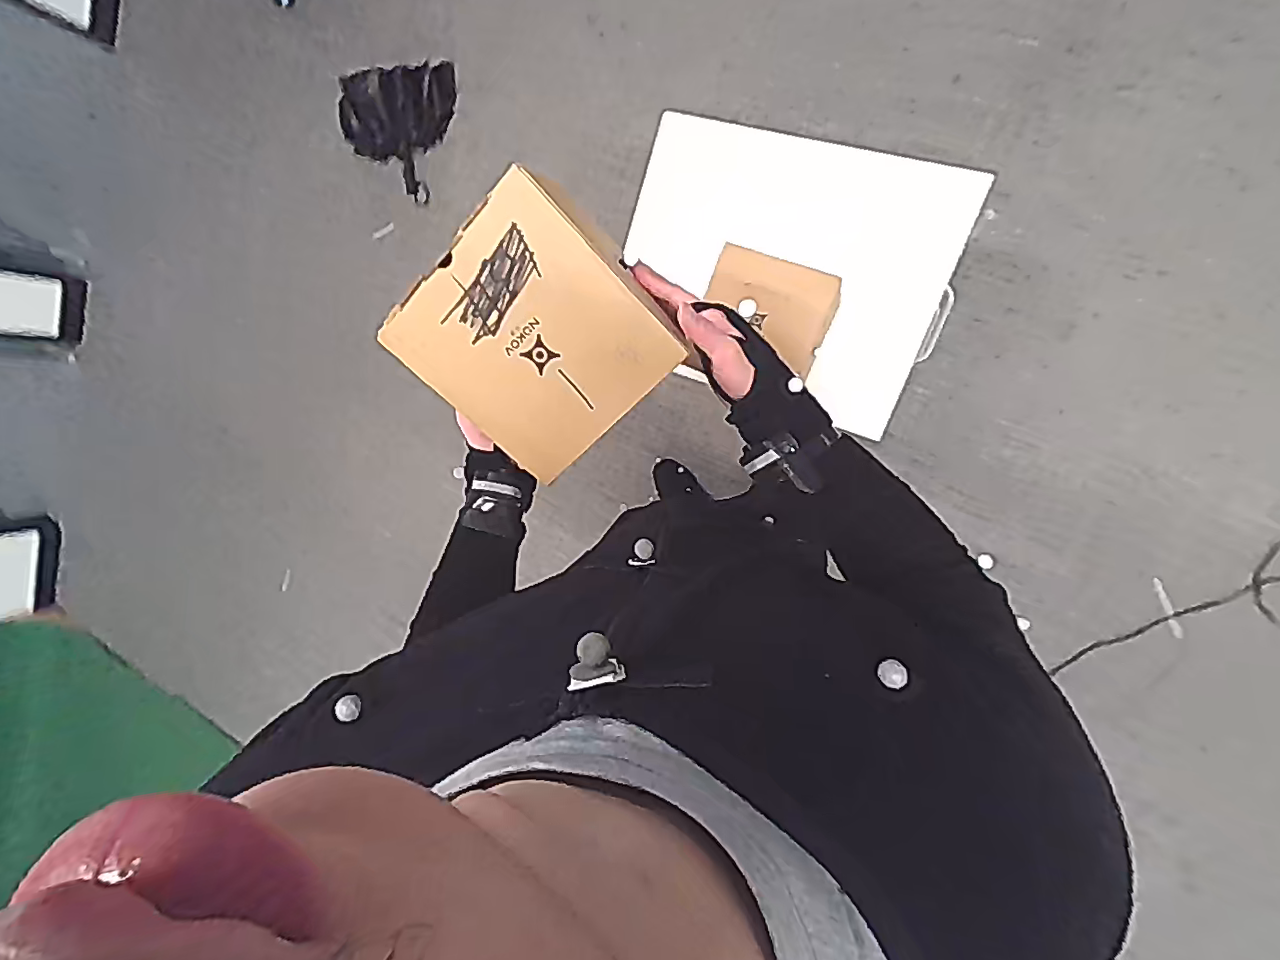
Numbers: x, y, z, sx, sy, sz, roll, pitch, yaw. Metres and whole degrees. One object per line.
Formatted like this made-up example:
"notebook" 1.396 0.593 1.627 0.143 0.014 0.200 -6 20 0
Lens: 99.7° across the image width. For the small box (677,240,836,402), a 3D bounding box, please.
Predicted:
"small box" 0.178 -0.223 0.806 0.168 0.176 0.179 25 103 14
